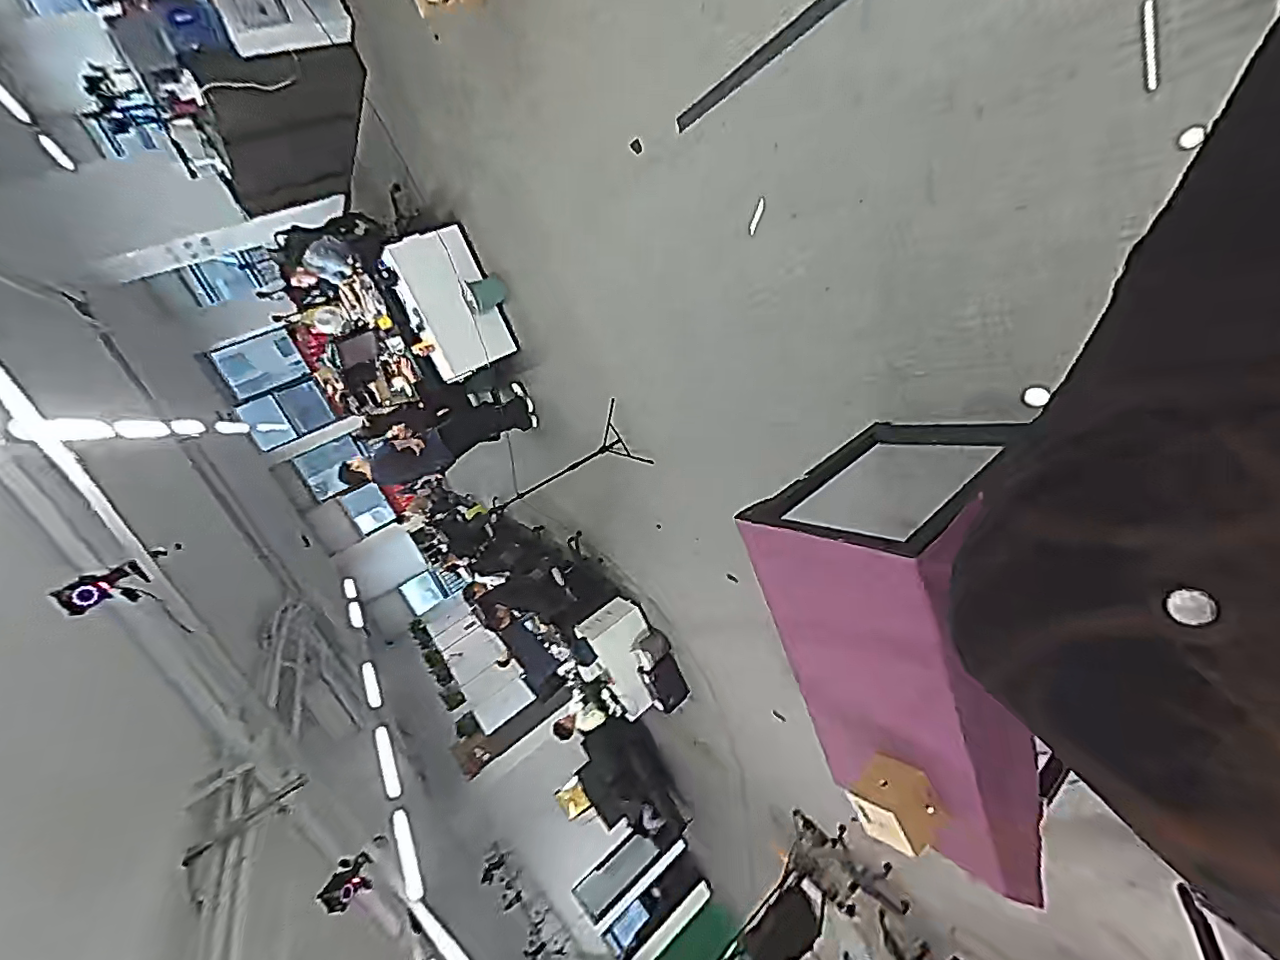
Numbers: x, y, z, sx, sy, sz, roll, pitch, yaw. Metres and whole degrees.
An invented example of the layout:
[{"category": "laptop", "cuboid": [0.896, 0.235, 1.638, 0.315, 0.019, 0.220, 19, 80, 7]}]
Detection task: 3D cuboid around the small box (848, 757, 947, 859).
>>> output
[{"category": "small box", "cuboid": [0.771, 0.968, 1.617, 0.168, 0.176, 0.179, 61, 155, -7]}]
